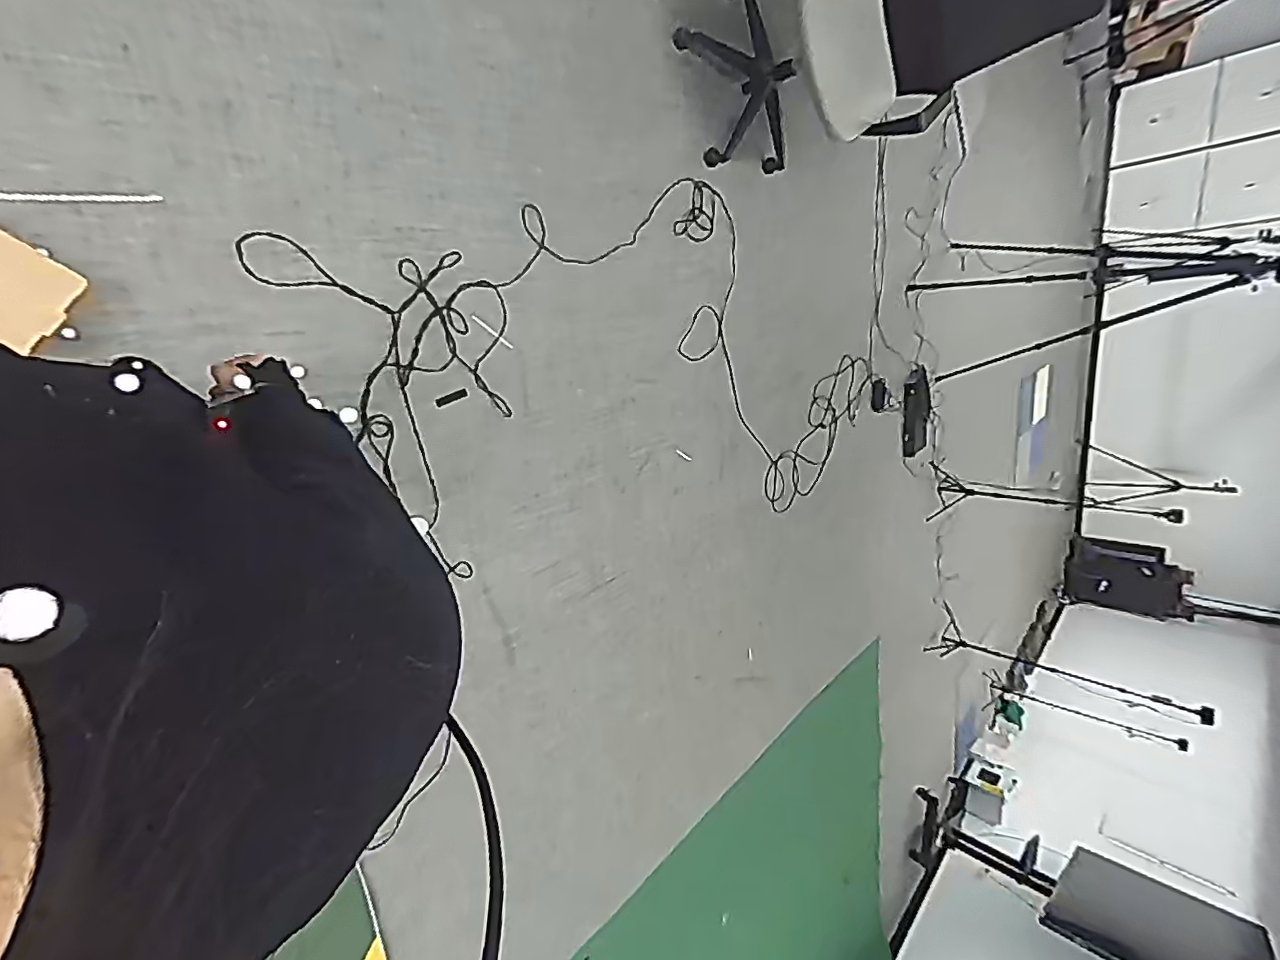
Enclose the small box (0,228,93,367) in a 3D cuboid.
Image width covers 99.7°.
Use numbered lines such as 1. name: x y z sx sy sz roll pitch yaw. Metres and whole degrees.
1. small box: -0.992 -0.290 0.825 0.179 0.176 0.168 39 70 -40
